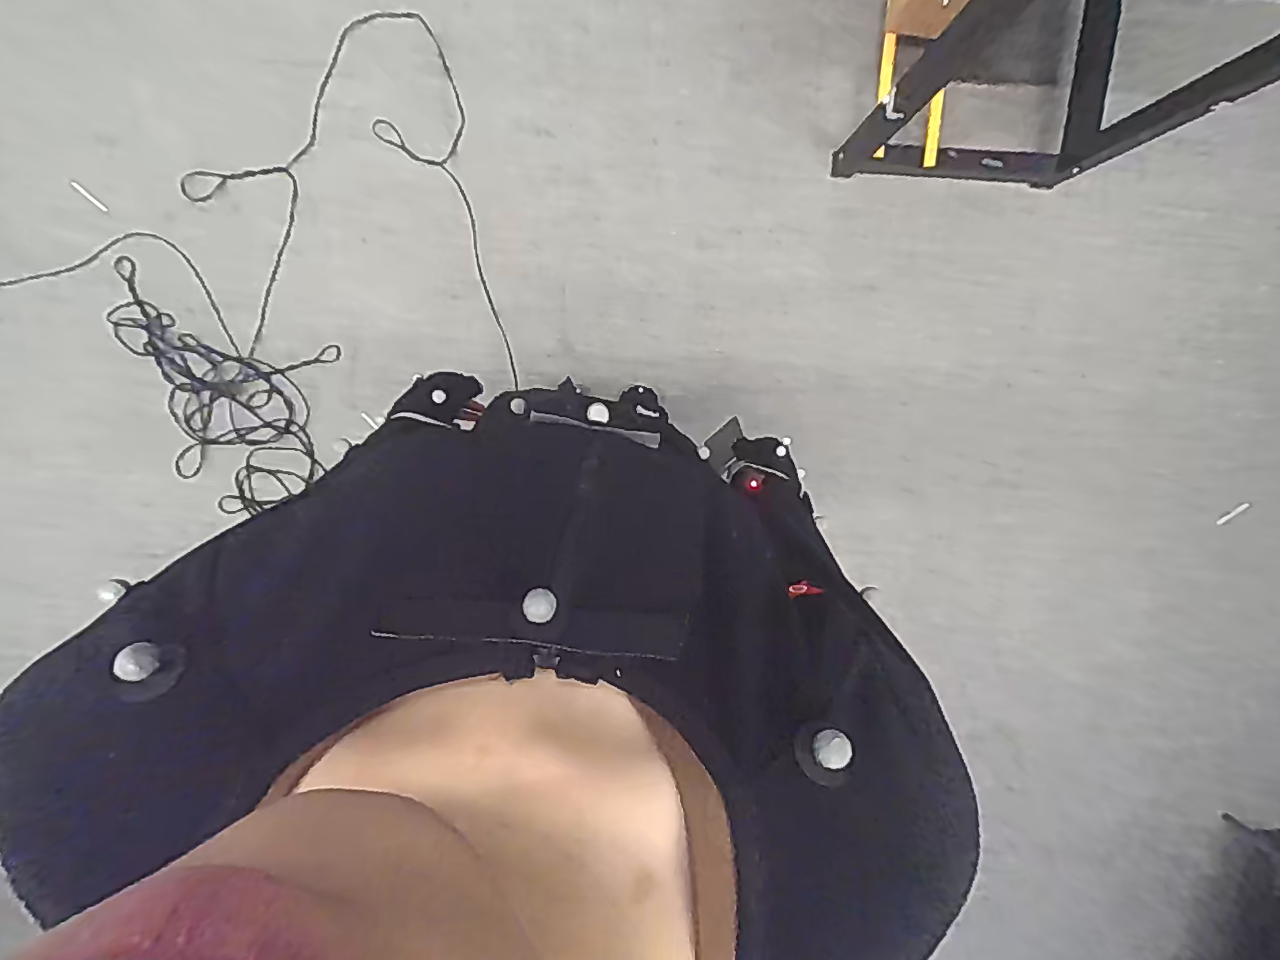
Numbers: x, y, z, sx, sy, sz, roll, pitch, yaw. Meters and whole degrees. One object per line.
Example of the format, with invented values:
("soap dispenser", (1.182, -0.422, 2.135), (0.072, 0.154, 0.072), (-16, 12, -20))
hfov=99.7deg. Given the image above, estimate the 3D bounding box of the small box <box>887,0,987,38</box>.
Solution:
("small box", (0.647, -1.077, 1.135), (0.179, 0.176, 0.168), (6, 99, -2))
